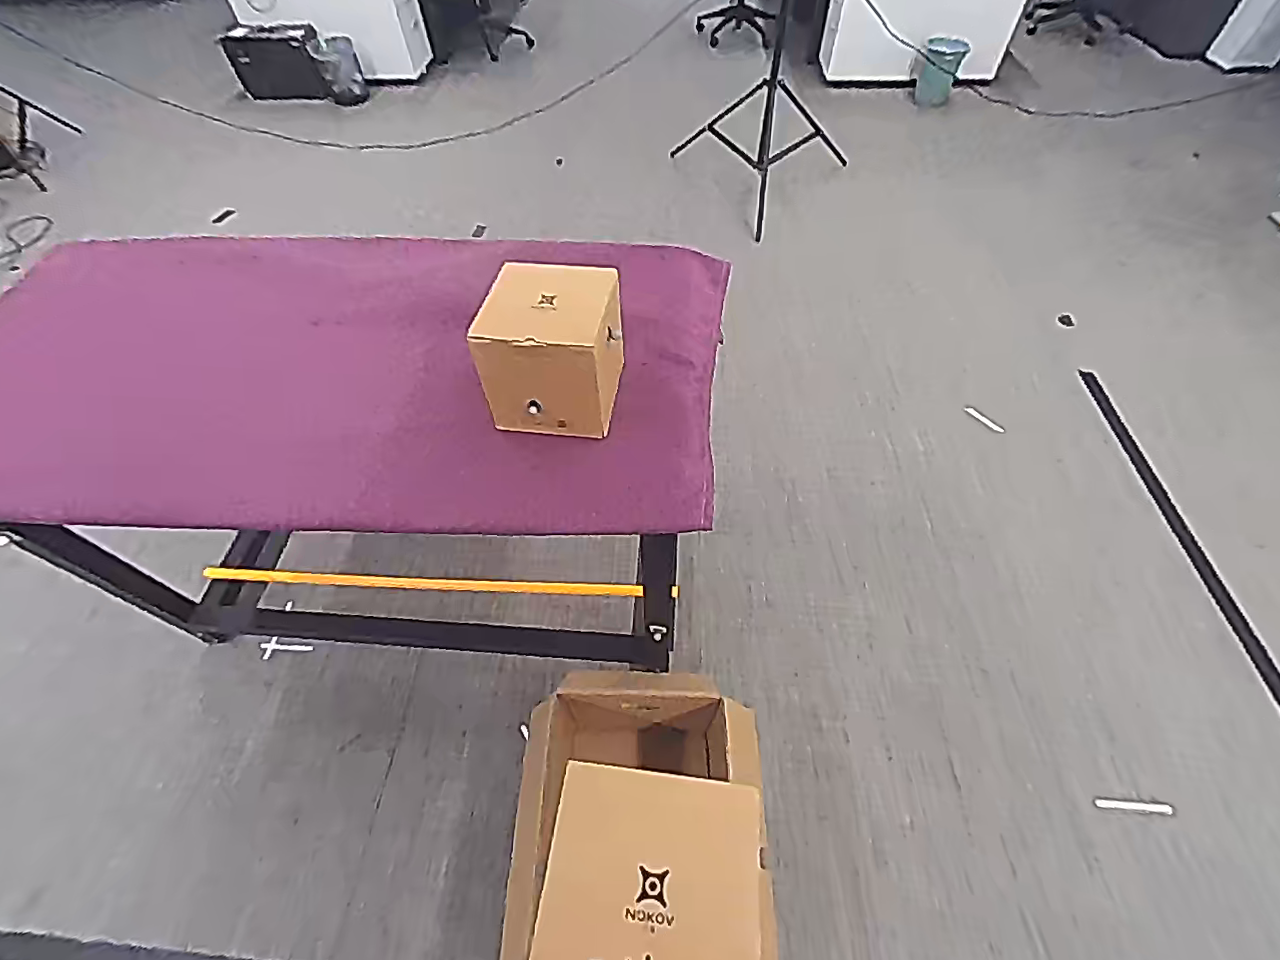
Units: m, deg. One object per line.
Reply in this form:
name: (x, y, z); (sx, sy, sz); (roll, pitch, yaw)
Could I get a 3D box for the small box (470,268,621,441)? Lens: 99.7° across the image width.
small box: (-0.122, -0.181, 0.785); (0.168, 0.176, 0.179); (5, 53, 6)

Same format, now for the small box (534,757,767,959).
small box: (0.014, 0.363, 0.463); (0.168, 0.176, 0.179); (4, 51, 7)
